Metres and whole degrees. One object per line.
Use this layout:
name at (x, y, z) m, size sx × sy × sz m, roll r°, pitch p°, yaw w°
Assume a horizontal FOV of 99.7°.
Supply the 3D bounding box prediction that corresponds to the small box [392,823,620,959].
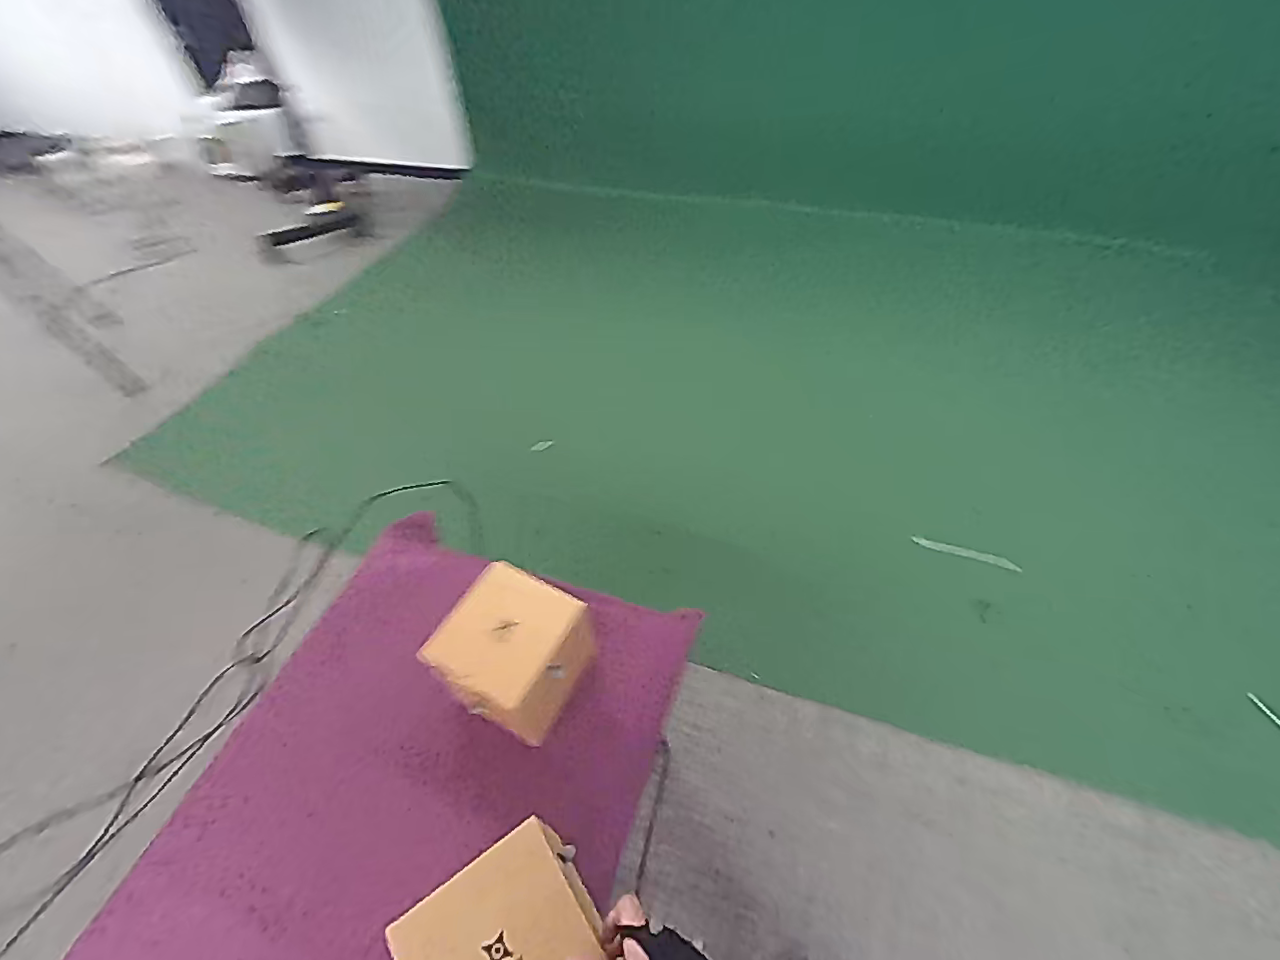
small box at (-0.123, 0.501, 0.558) m, size 0.168 × 0.176 × 0.179 m, roll -29°, pitch 56°, yaw -20°

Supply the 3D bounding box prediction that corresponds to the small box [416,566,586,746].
small box at (-0.196, 0.269, 0.825) m, size 0.168 × 0.176 × 0.179 m, roll 21°, pitch 55°, yaw 20°
